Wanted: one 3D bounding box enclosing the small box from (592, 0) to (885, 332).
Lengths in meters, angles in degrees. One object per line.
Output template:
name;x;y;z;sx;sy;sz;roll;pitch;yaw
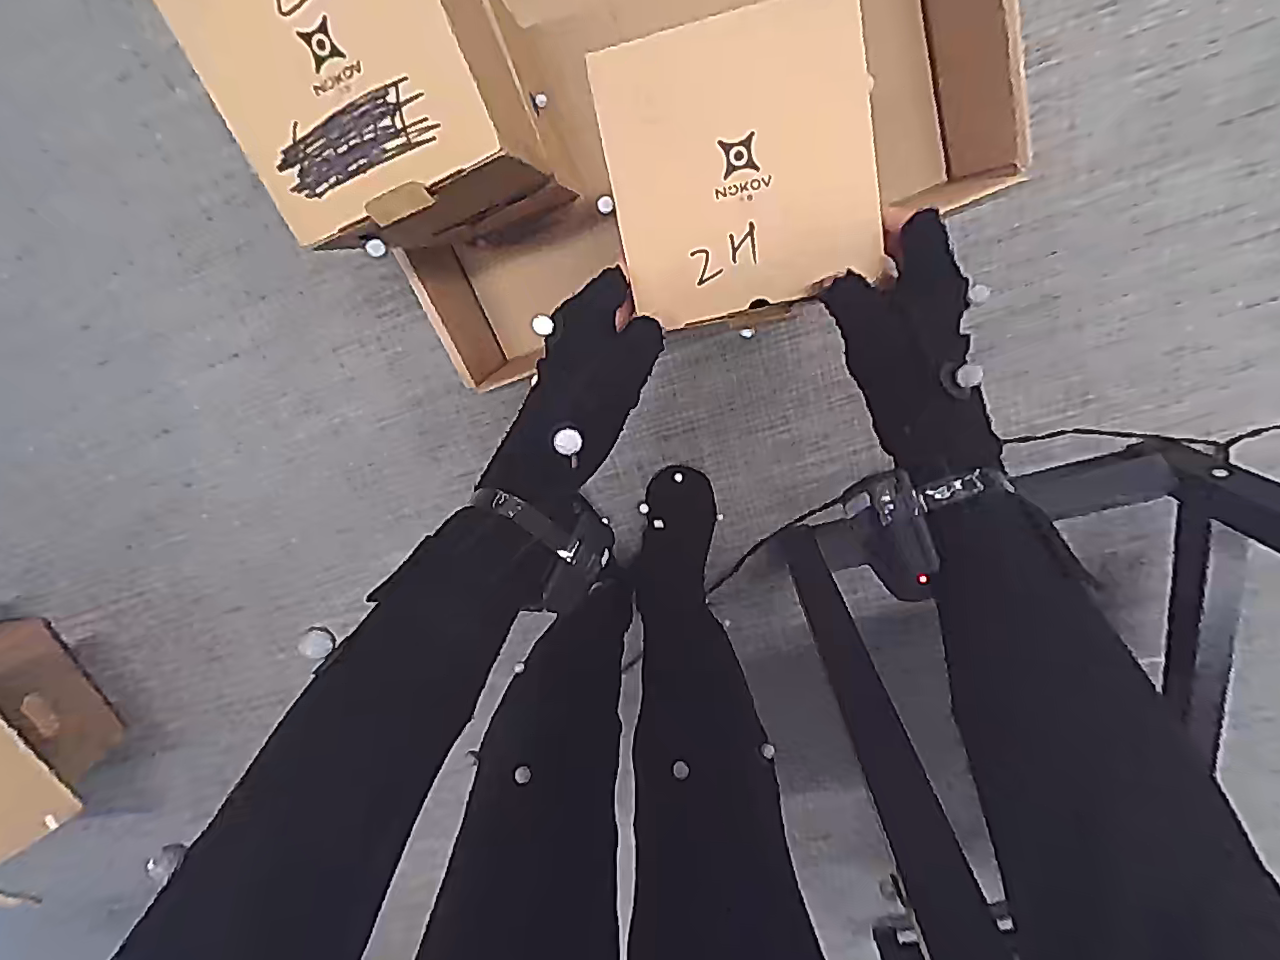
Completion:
small box;0.071;-0.220;0.422;0.168;0.176;0.179;-11;103;9
